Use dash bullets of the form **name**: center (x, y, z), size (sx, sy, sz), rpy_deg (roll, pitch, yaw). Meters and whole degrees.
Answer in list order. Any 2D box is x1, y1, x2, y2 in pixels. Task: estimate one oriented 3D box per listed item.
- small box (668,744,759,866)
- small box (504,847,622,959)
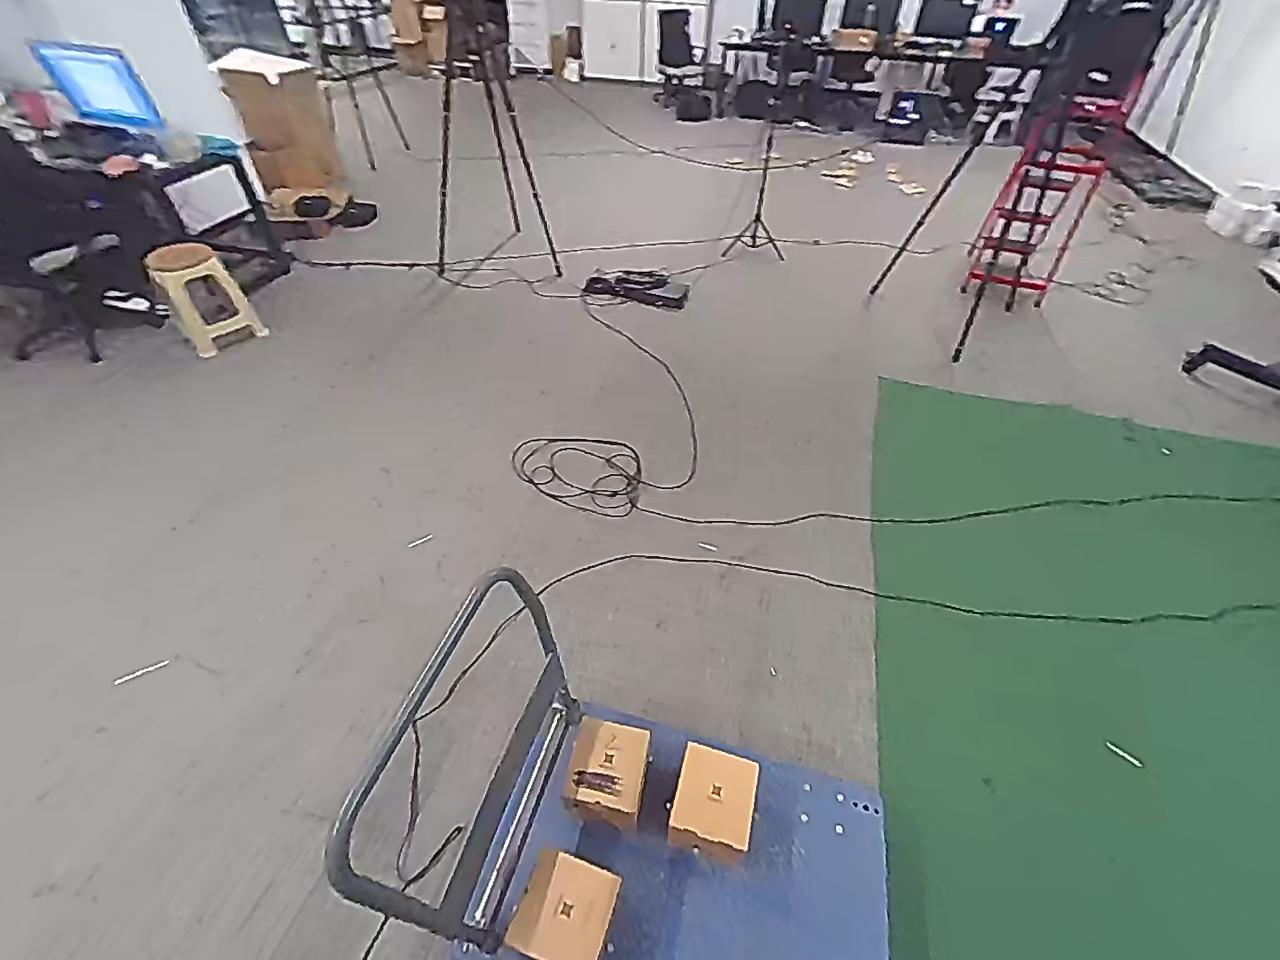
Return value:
- **small box**: center (0.162, 0.736, 1.224), size (0.168, 0.176, 0.179), rpy_deg (13, 48, 11)
- **small box**: center (-0.145, 0.874, 1.079), size (0.179, 0.176, 0.168), rpy_deg (15, 47, 12)
